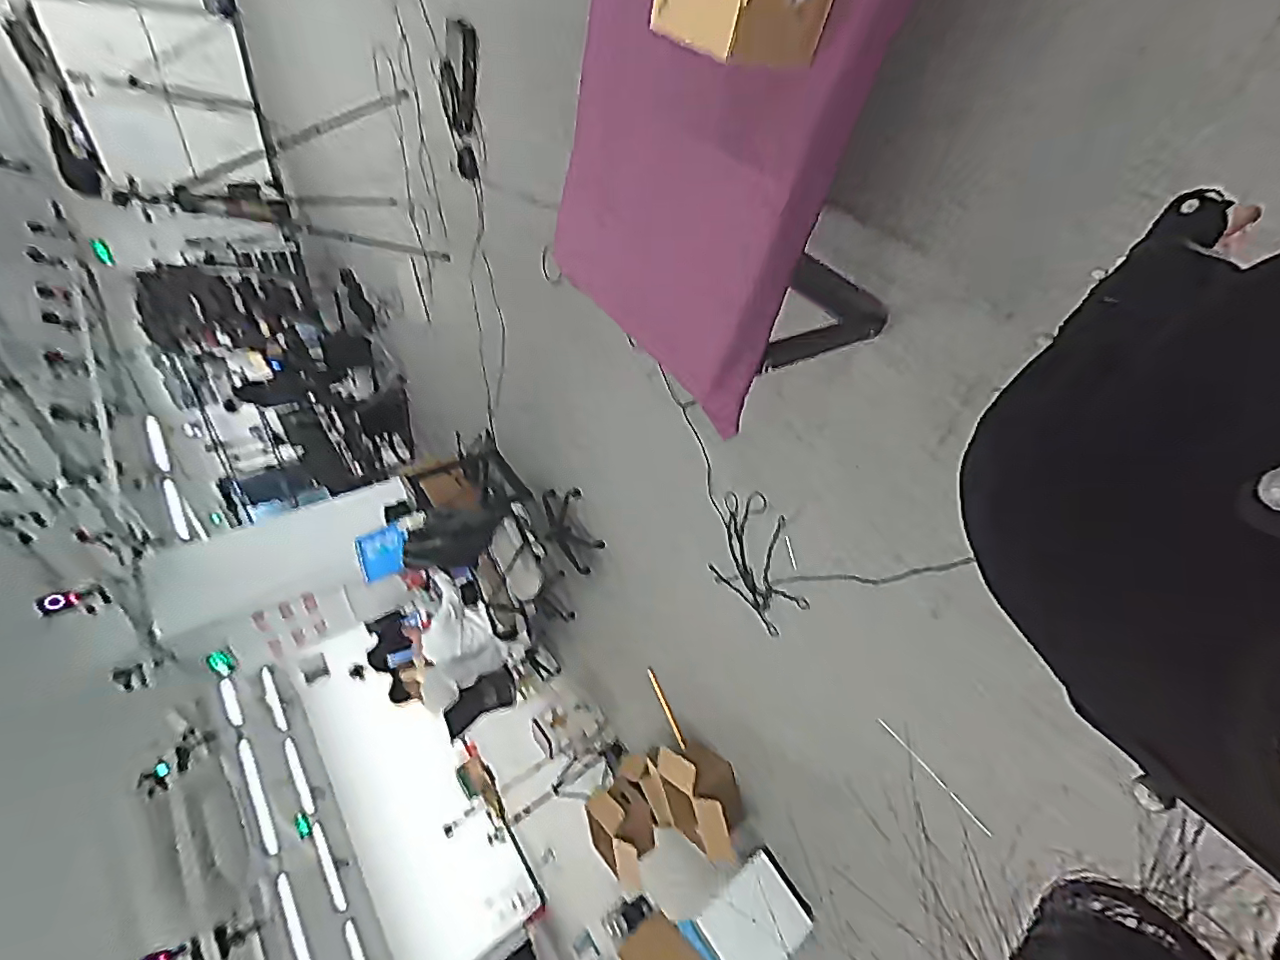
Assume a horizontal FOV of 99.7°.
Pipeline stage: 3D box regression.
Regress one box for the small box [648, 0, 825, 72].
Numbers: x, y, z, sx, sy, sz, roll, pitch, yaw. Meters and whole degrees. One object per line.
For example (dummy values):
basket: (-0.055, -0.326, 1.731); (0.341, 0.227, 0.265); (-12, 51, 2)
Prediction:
small box: (0.142, -0.672, 0.725); (0.179, 0.176, 0.168); (49, 143, 28)
